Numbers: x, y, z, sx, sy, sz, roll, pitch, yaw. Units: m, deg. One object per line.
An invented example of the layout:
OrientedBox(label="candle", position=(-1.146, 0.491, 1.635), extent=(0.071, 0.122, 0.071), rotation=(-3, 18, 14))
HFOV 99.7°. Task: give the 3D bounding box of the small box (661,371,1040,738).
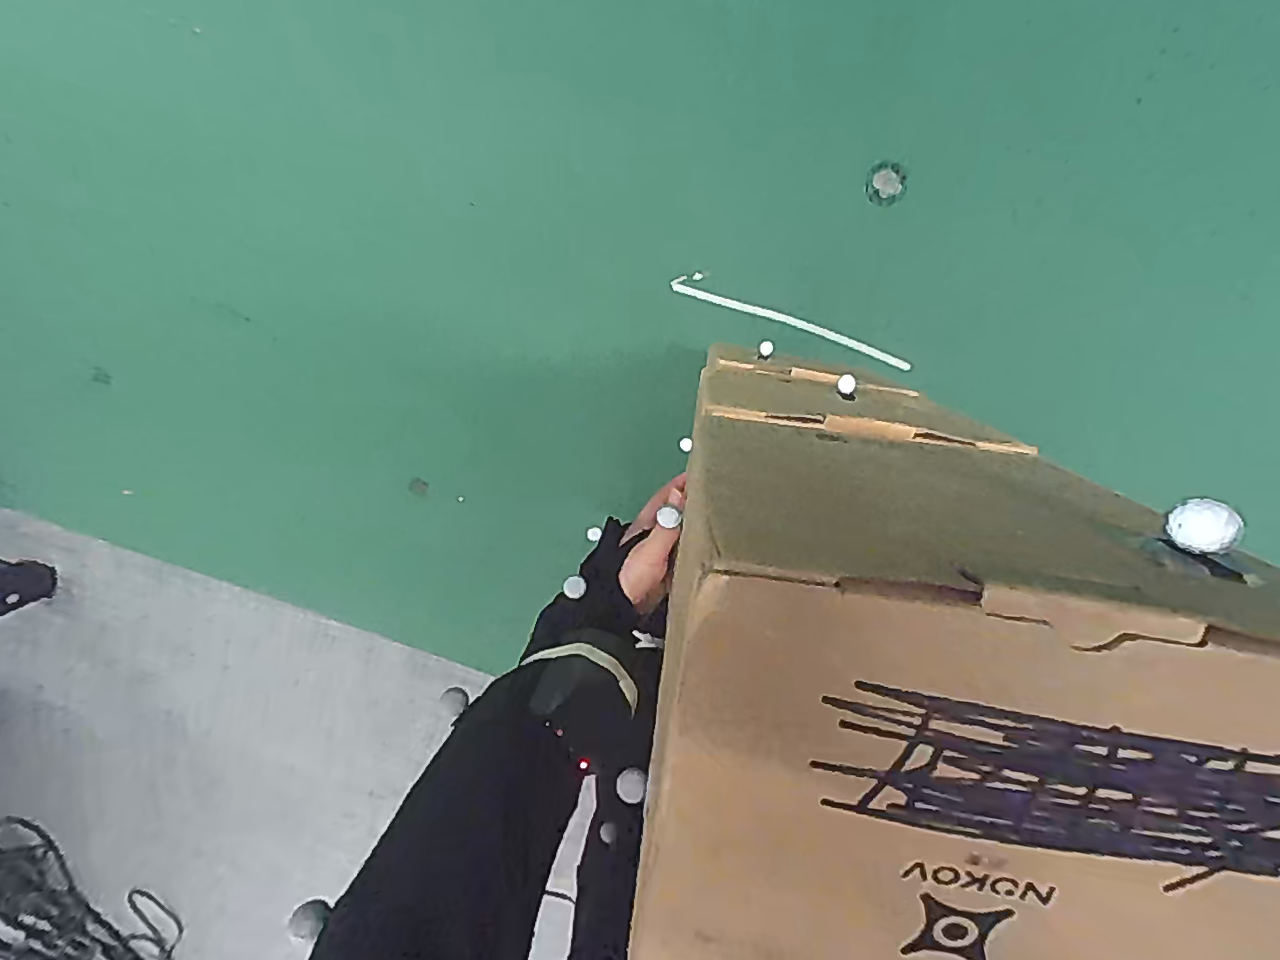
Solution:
OrientedBox(label="small box", position=(0.112, 0.032, 0.366), extent=(0.168, 0.176, 0.179), rotation=(8, 108, 4))

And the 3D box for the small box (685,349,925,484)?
OrientedBox(label="small box", position=(0.135, -0.023, 0.517), extent=(0.168, 0.176, 0.179), rotation=(10, 110, 4))
